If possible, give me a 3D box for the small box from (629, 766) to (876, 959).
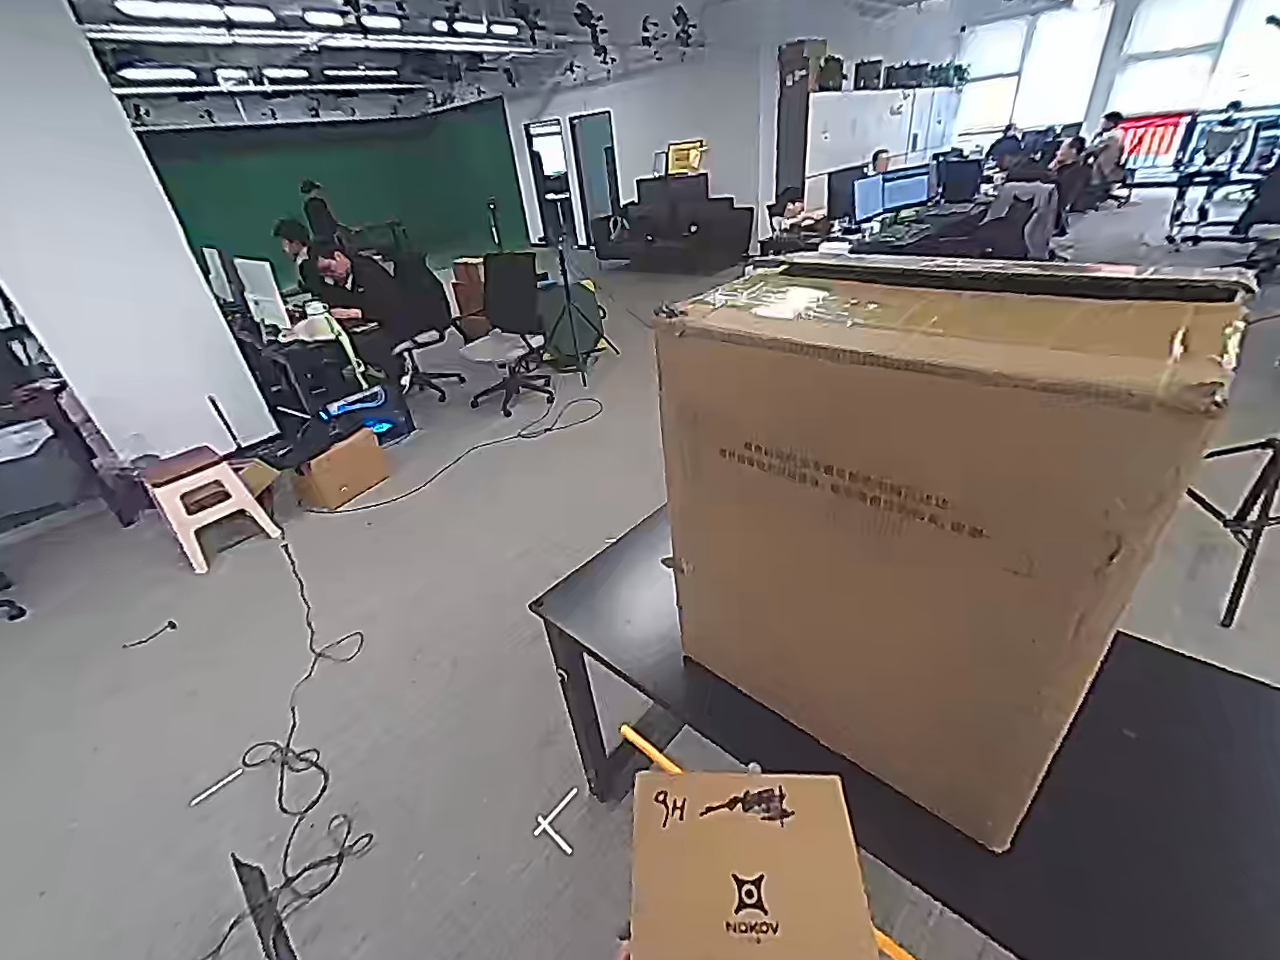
[{"bbox_3d":[0.078,0.349,0.434,0.168,0.176,0.179,0,47,2],"label":"small box"}]
